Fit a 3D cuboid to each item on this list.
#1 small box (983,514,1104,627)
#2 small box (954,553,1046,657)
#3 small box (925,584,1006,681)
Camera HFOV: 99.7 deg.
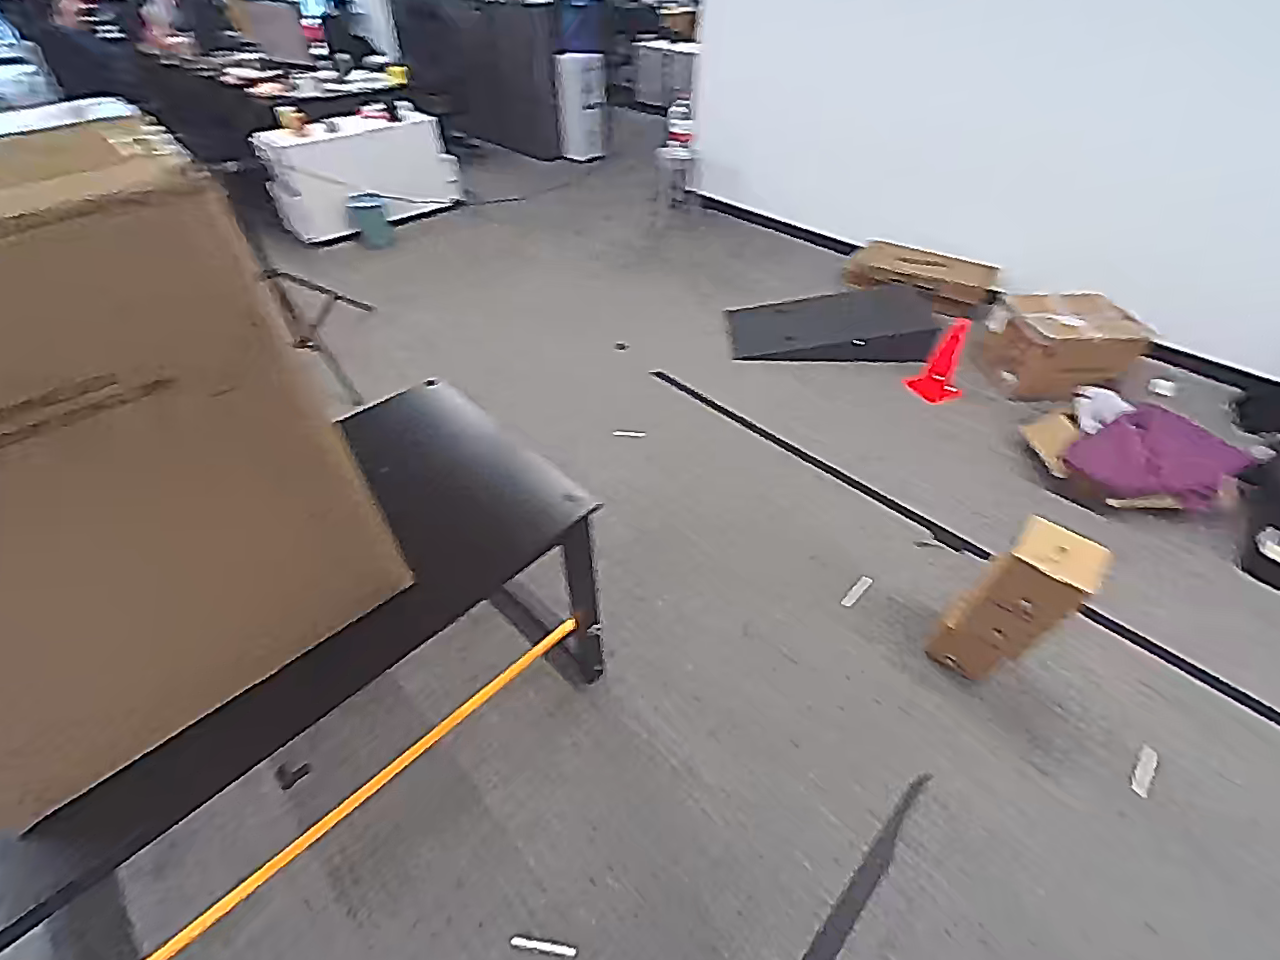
[{"bbox_3d":[0.983,0.222,1.328,0.168,0.176,0.179,32,53,29],"label":"small box"},{"bbox_3d":[0.973,0.338,1.448,0.168,0.176,0.179,28,52,26],"label":"small box"},{"bbox_3d":[0.960,0.444,1.573,0.168,0.176,0.179,29,53,26],"label":"small box"}]
